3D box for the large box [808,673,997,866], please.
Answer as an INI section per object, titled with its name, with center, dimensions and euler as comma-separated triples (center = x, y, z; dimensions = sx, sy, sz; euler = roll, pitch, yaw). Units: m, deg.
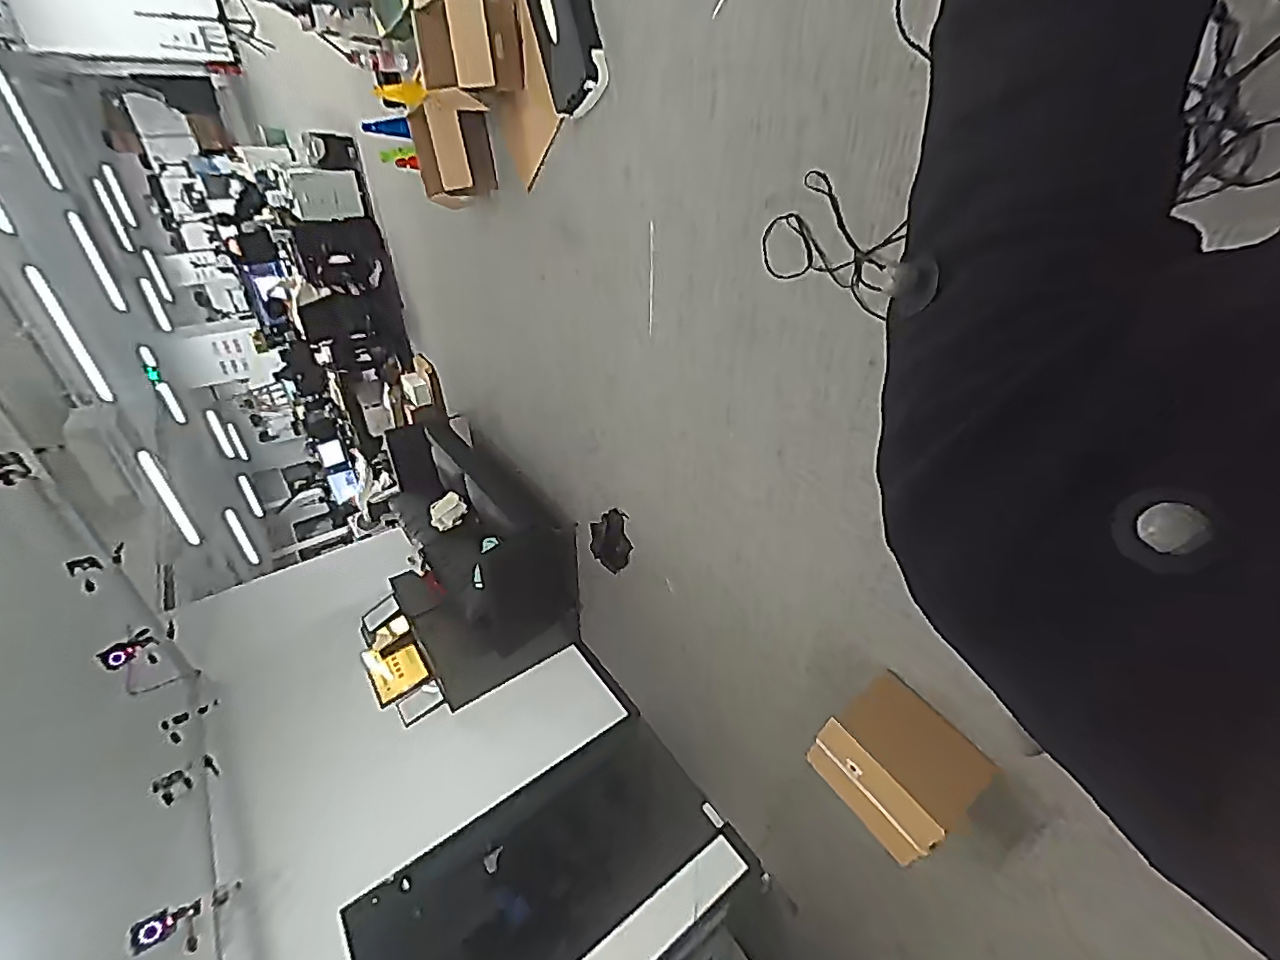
[large box]
center = 0.838, 0.928, 1.766
dimensions = 0.408, 0.320, 0.320
euler = 45, 143, 37
